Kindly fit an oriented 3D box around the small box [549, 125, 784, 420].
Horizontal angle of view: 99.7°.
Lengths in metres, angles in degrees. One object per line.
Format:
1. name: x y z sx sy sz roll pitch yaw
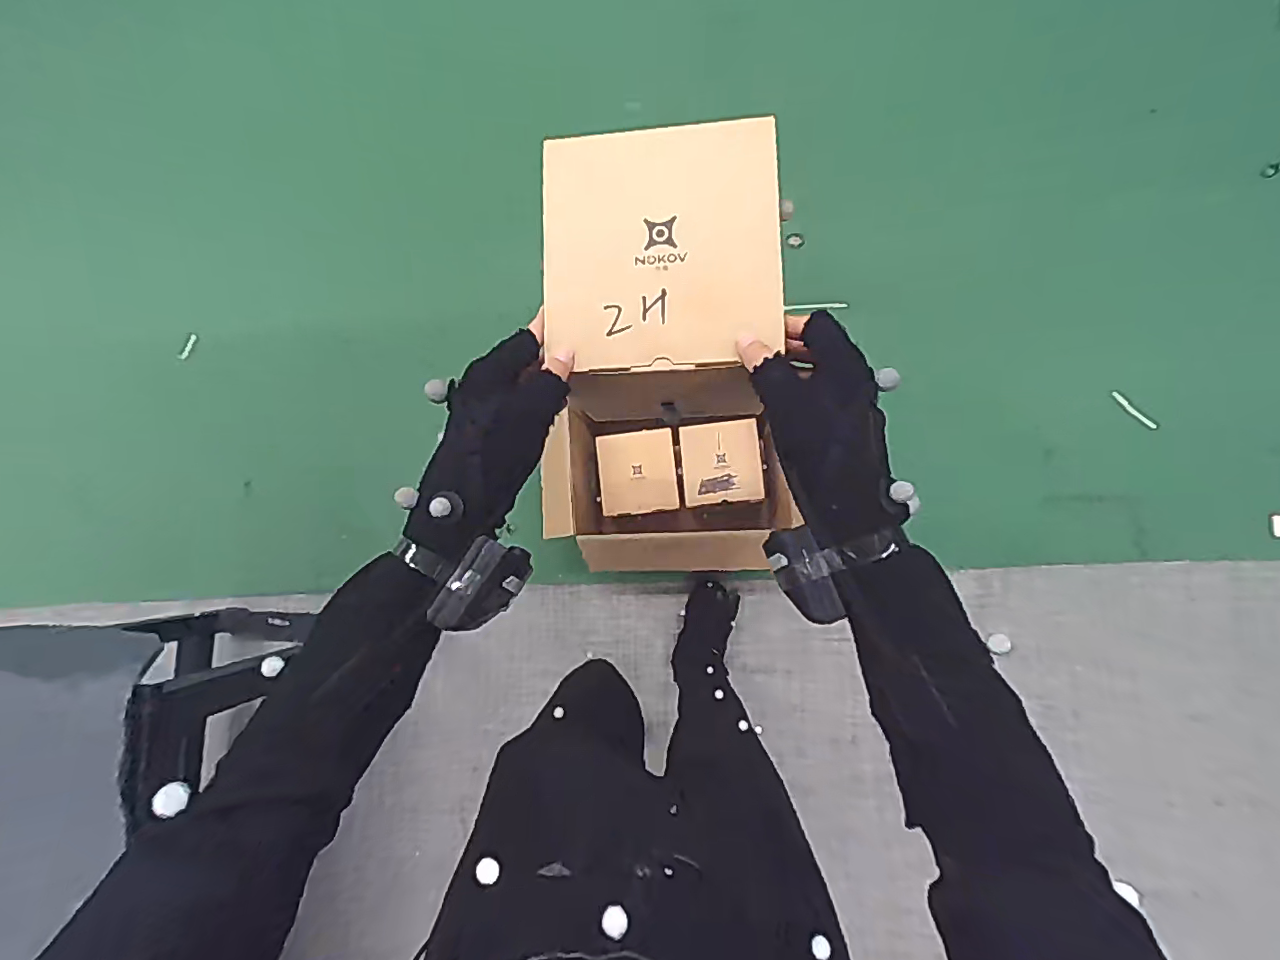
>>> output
1. small box: 0.025 -0.155 0.459 0.168 0.176 0.179 -2 86 7
